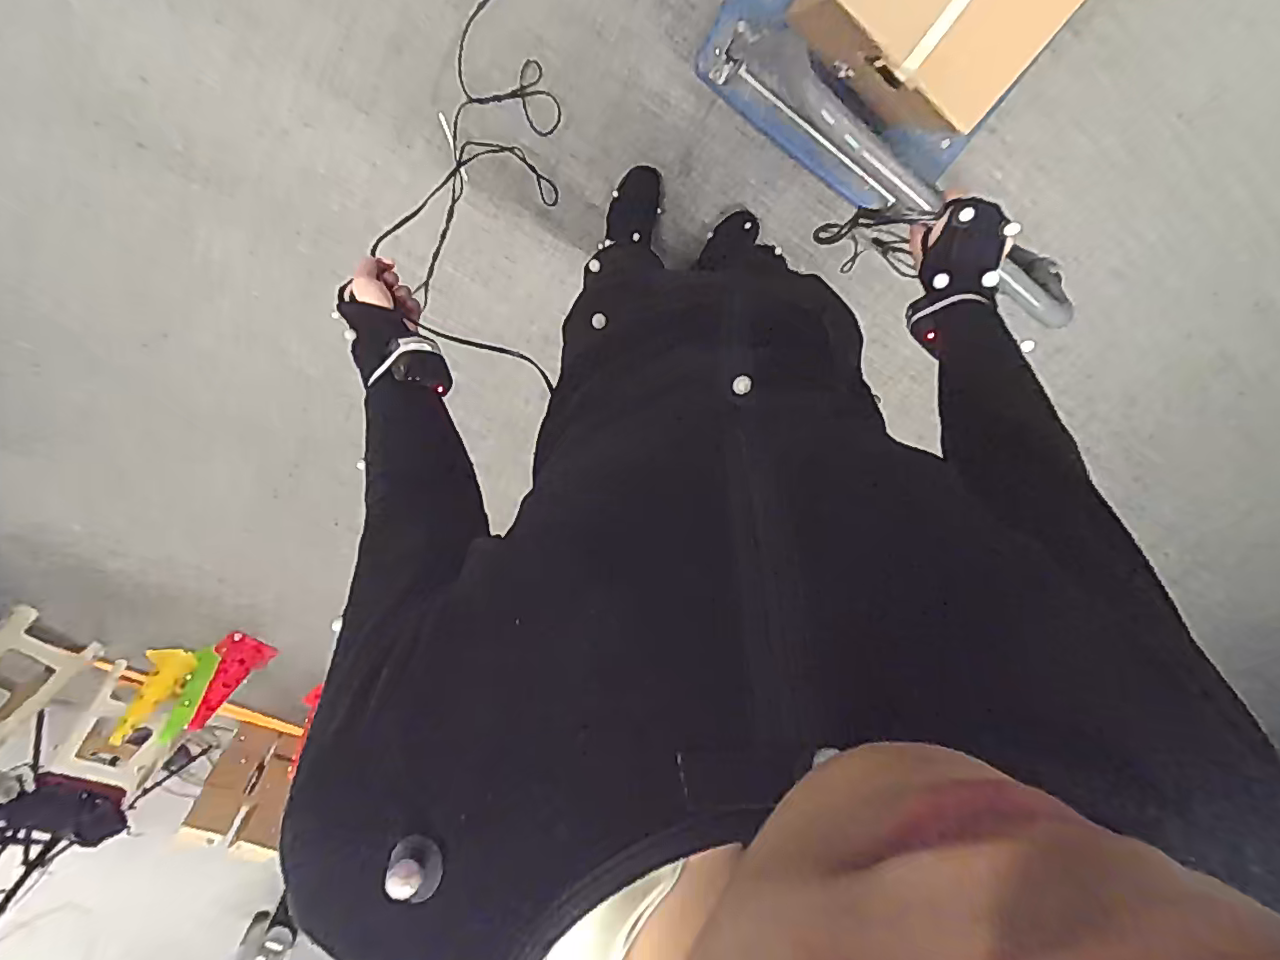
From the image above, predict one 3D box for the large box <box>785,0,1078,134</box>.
[{"bbox_3d":[0.504,-0.844,0.859,0.320,0.320,0.408,29,119,-21],"label":"large box"}]
